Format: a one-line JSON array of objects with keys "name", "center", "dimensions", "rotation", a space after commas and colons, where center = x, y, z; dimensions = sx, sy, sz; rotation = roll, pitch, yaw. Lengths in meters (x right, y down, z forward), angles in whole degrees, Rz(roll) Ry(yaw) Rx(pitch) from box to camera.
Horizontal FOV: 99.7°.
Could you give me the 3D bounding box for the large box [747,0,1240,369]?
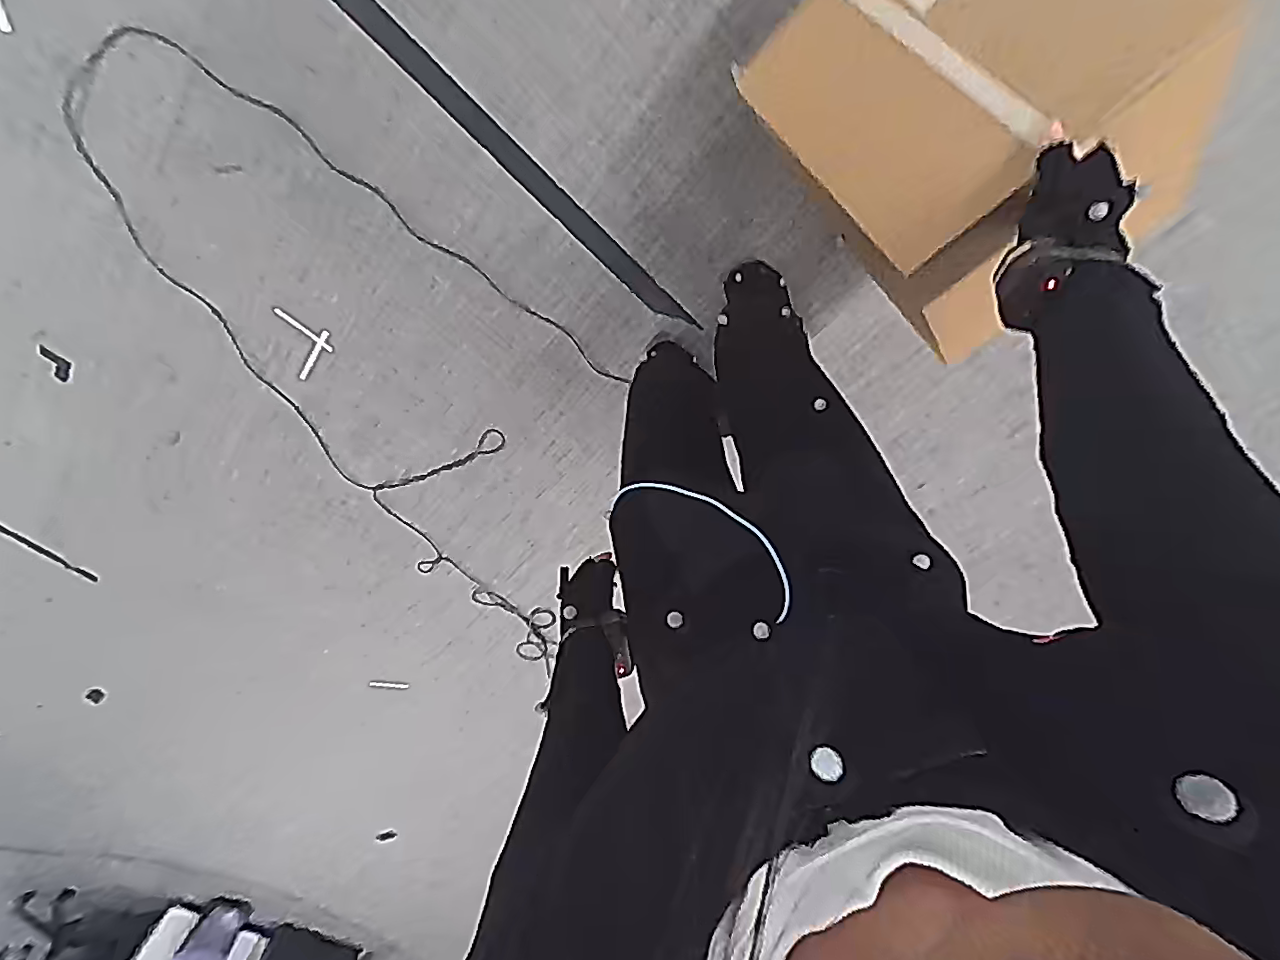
[{"name": "large box", "center": [0.421, -0.427, 0.724], "dimensions": [0.320, 0.408, 0.320], "rotation": [-38, 150, 25]}]
